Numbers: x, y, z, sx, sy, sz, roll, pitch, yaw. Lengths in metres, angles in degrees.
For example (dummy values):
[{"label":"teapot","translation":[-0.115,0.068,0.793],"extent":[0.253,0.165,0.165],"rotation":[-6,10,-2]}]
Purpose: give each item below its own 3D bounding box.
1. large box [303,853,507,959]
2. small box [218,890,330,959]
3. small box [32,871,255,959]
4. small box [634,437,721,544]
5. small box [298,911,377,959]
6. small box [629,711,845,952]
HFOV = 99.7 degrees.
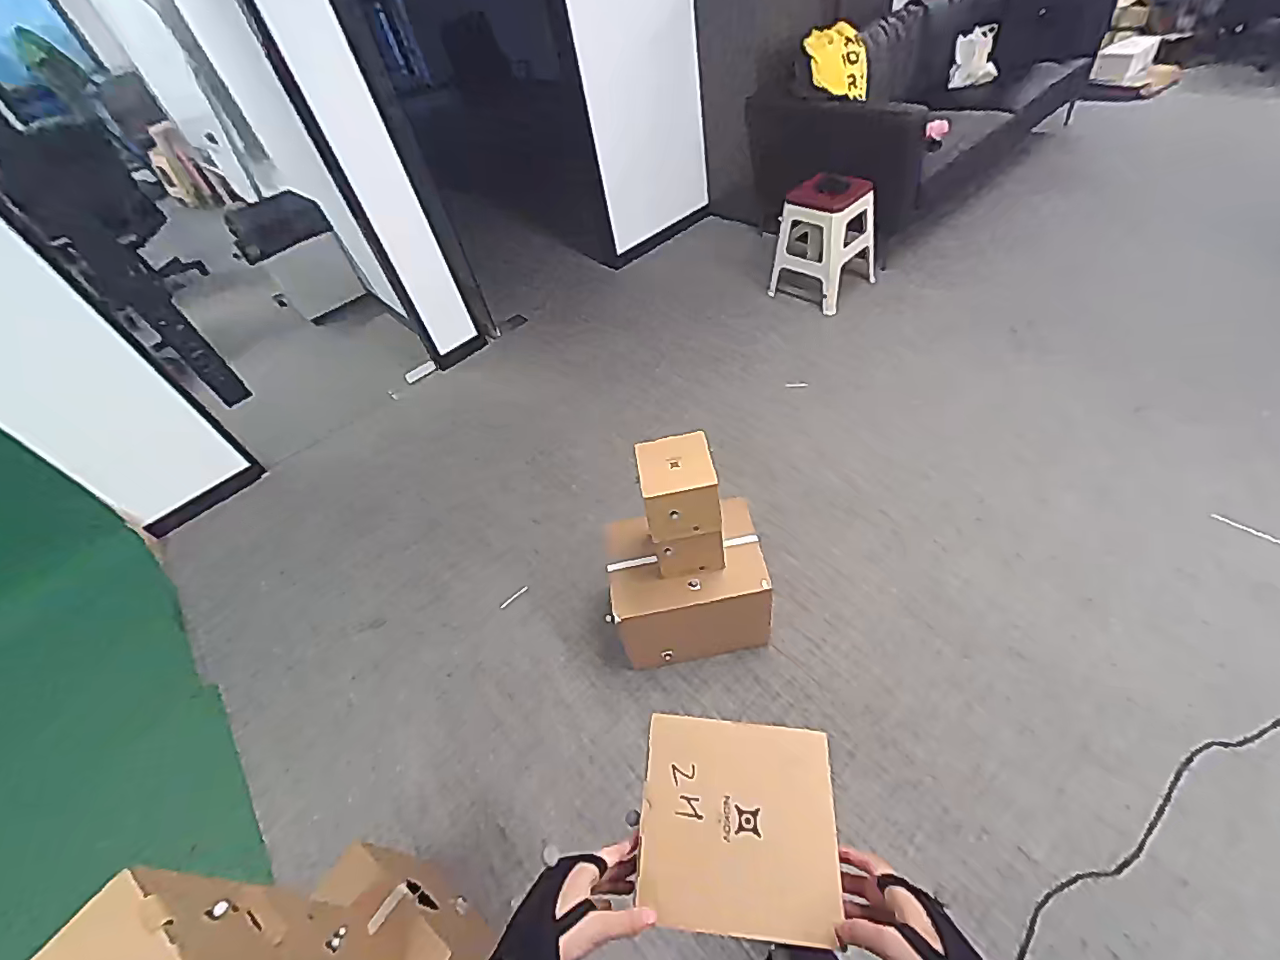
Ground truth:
[{"label":"large box","translation":[-0.534,1.025,1.029],"extent":[0.320,0.320,0.408],"rotation":[21,56,30]},{"label":"small box","translation":[-0.566,0.723,0.752],"extent":[0.168,0.176,0.179],"rotation":[21,55,29]},{"label":"small box","translation":[-0.596,0.613,0.634],"extent":[0.168,0.176,0.179],"rotation":[22,54,29]},{"label":"small box","translation":[0.087,0.030,1.253],"extent":[0.168,0.176,0.179],"rotation":[-12,44,2]},{"label":"small box","translation":[-0.539,0.837,0.866],"extent":[0.179,0.176,0.168],"rotation":[22,55,30]},{"label":"small box","translation":[0.086,0.350,0.543],"extent":[0.179,0.176,0.168],"rotation":[4,51,5]}]
